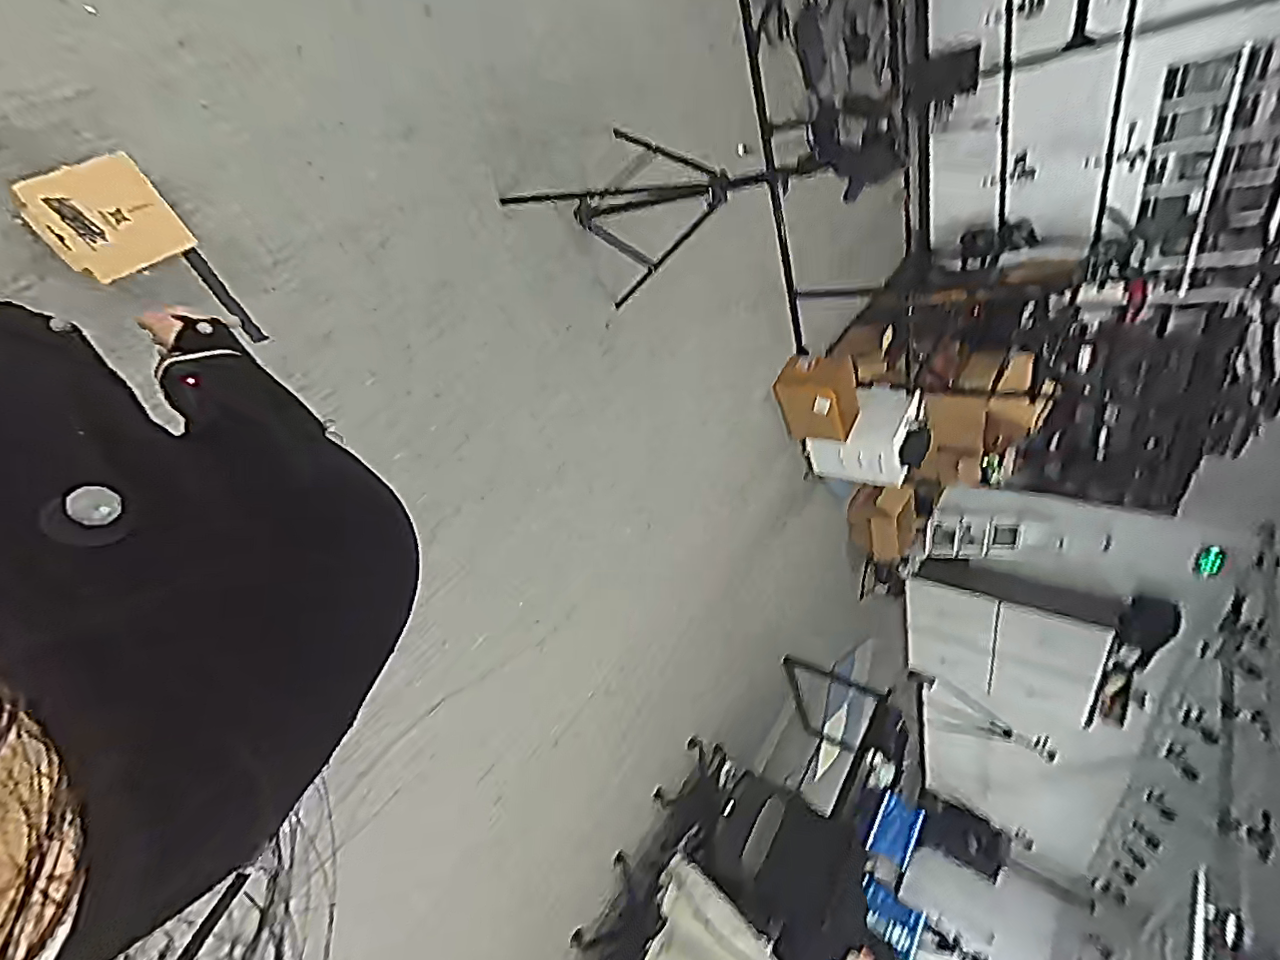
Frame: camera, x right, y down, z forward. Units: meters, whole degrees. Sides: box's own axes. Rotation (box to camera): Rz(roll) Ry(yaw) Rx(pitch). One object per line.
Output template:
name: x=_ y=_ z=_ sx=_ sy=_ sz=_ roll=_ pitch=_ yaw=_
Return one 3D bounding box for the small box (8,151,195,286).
small box: x=-0.978 y=-0.470 z=0.991 sx=0.179 sy=0.176 sz=0.168 roll=-49 pitch=133 yaw=-31
